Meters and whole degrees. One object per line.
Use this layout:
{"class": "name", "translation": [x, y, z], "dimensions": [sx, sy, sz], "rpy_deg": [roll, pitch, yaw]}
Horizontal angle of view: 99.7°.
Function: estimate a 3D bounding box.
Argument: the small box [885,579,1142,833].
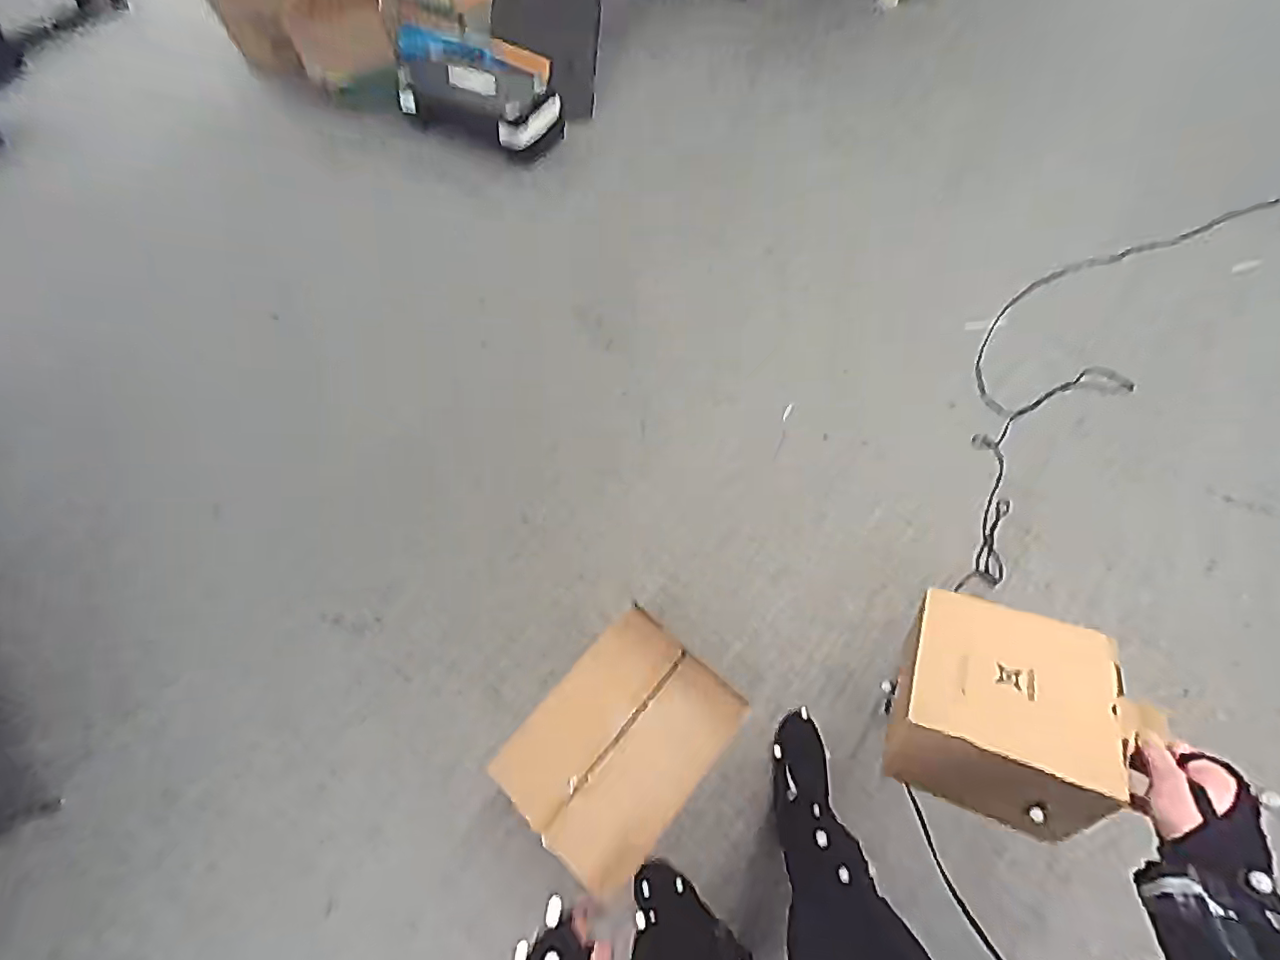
{"class": "small box", "translation": [0.384, 0.242, 0.578], "dimensions": [0.179, 0.176, 0.168], "rpy_deg": [17, 49, 26]}
